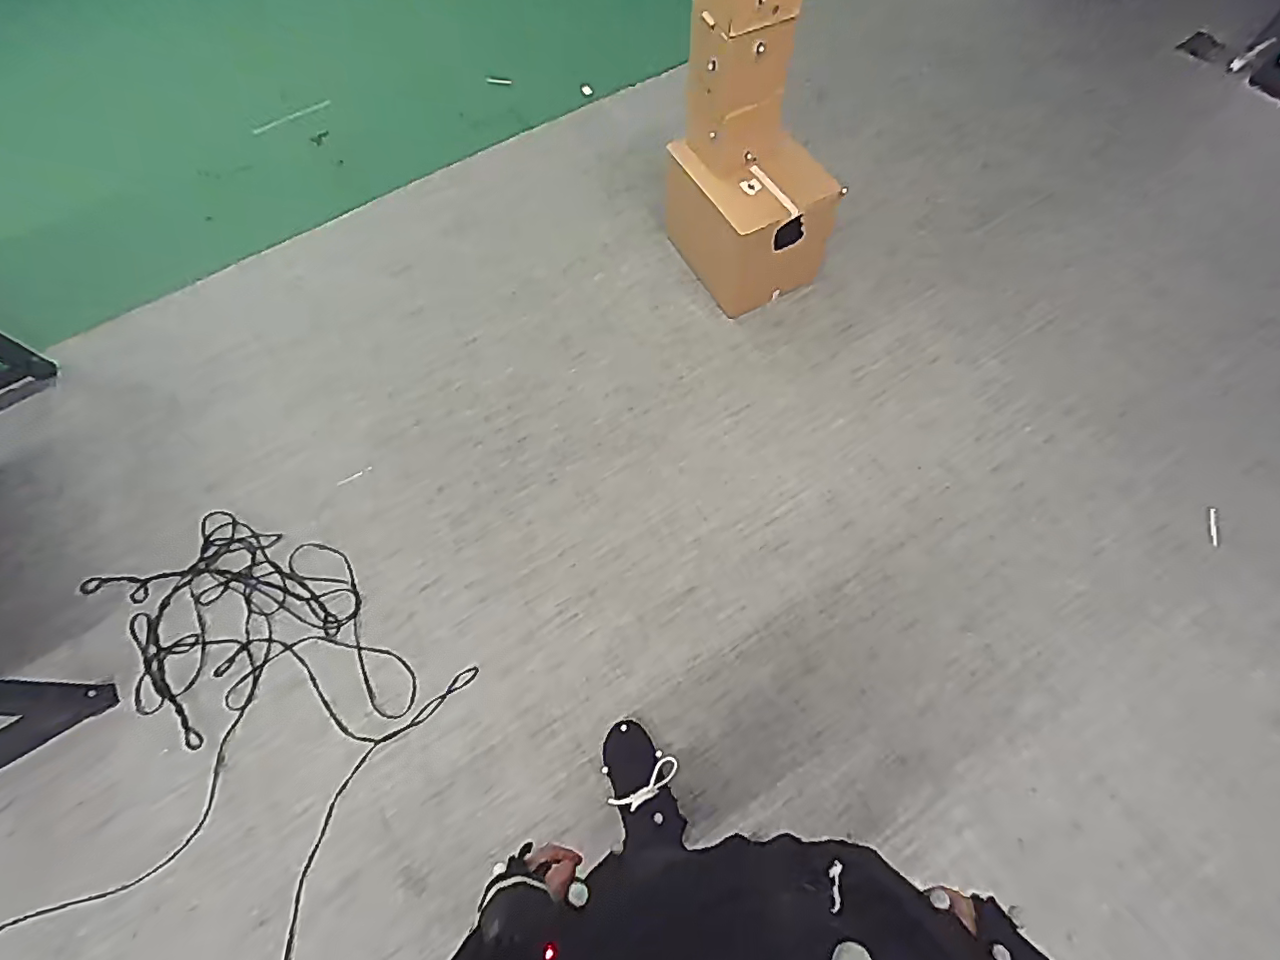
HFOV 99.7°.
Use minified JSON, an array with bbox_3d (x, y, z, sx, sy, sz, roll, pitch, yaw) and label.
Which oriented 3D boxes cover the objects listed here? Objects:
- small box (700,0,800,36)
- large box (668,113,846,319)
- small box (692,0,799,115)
[{"bbox_3d":[0.221,-1.040,1.080,0.168,0.176,0.179,-23,70,-7],"label":"small box"},{"bbox_3d":[0.309,-0.759,1.574,0.320,0.320,0.408,-27,69,-7],"label":"large box"},{"bbox_3d":[0.229,-0.977,1.229,0.179,0.176,0.168,-24,70,-8],"label":"small box"}]
